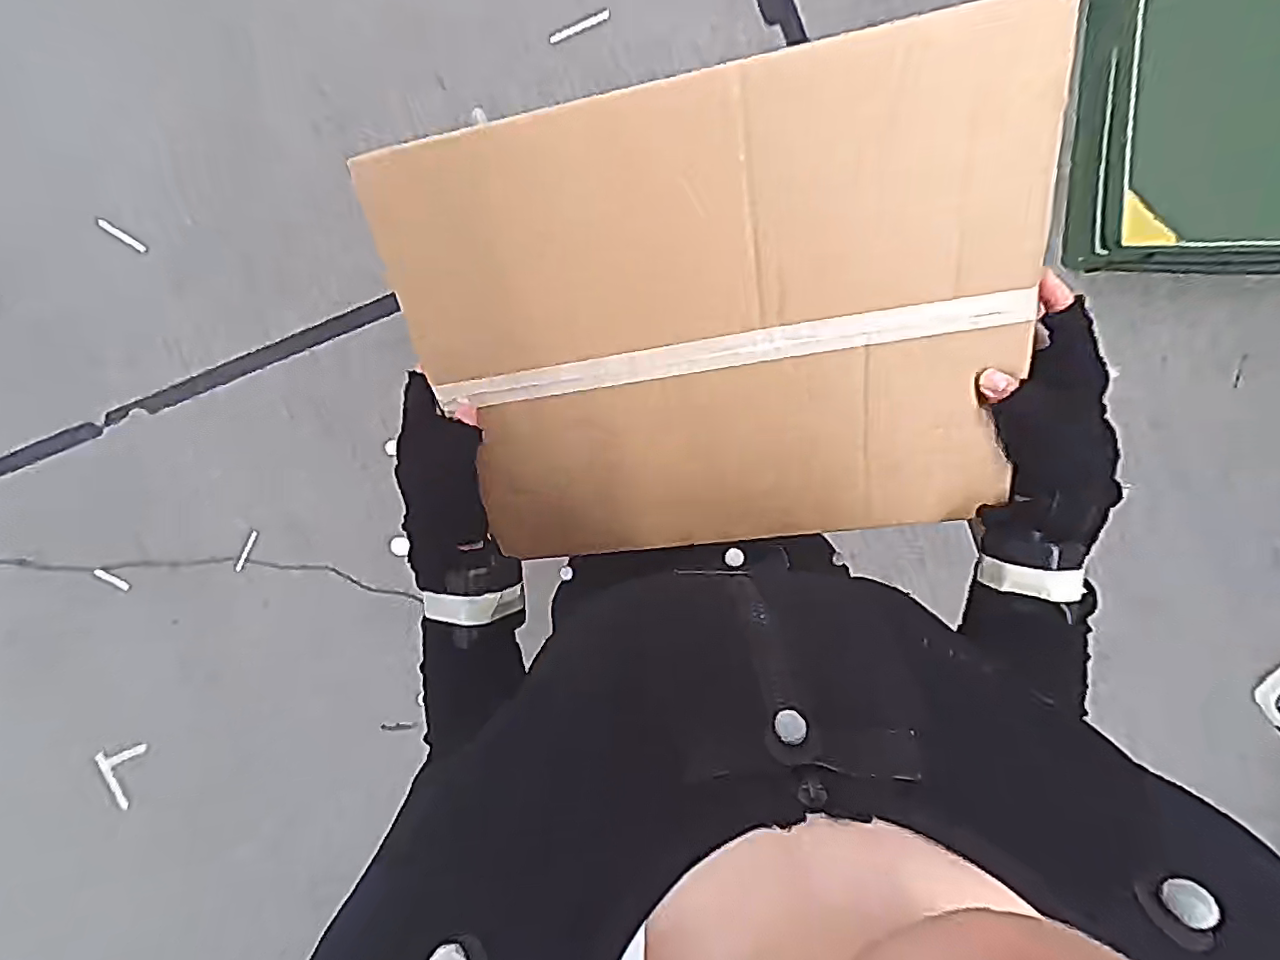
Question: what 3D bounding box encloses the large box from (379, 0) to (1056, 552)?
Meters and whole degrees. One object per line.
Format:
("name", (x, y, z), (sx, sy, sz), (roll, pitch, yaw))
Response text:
("large box", (0.064, -0.161, 0.509), (0.408, 0.320, 0.320), (-6, 119, 10))
